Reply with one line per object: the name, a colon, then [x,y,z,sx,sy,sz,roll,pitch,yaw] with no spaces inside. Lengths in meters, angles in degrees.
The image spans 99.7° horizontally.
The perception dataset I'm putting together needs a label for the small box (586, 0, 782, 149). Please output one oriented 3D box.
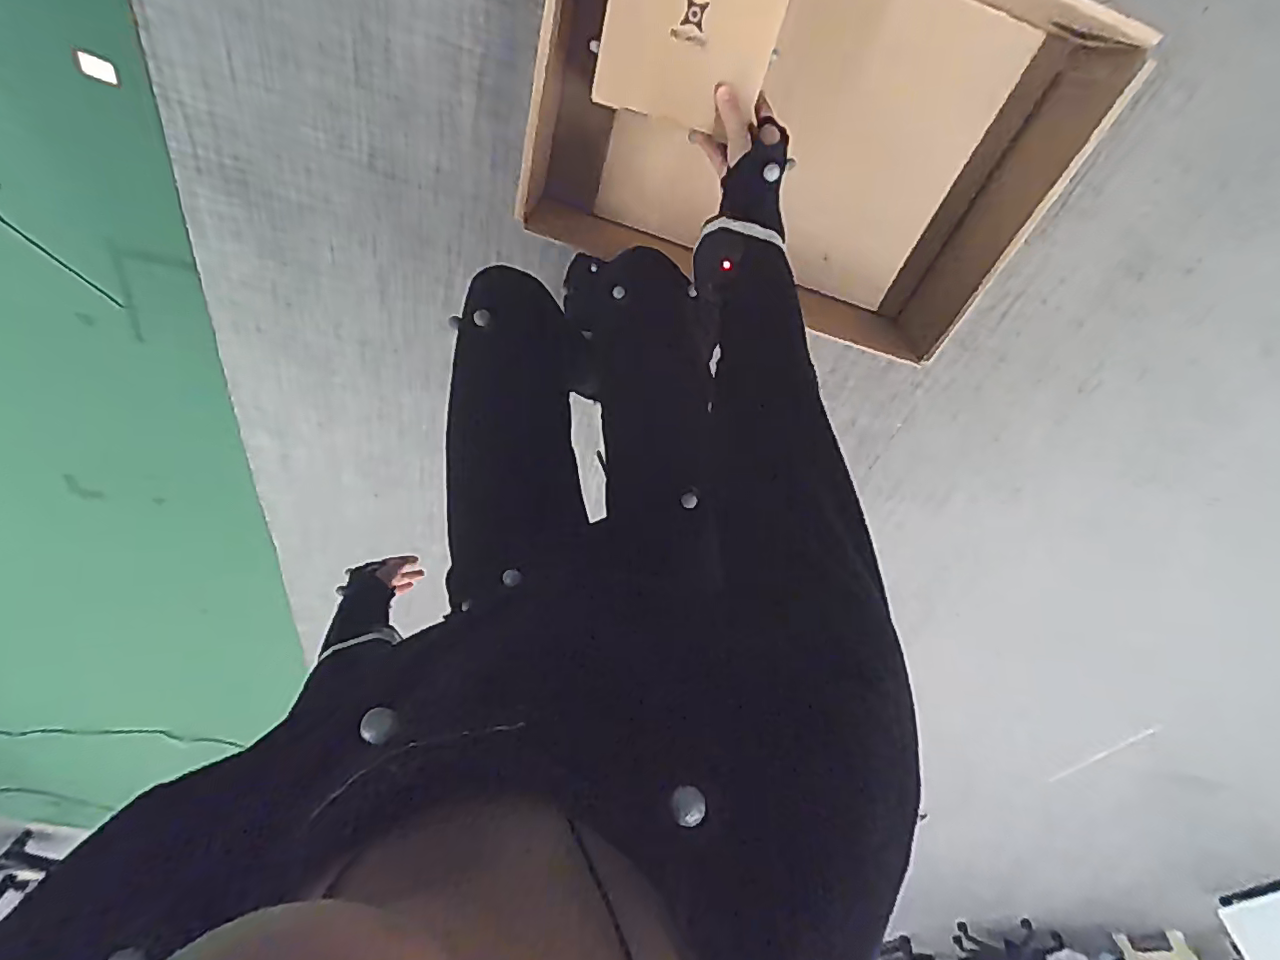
small box: [0.046,-0.479,0.576,0.168,0.176,0.179,12,124,-7]
